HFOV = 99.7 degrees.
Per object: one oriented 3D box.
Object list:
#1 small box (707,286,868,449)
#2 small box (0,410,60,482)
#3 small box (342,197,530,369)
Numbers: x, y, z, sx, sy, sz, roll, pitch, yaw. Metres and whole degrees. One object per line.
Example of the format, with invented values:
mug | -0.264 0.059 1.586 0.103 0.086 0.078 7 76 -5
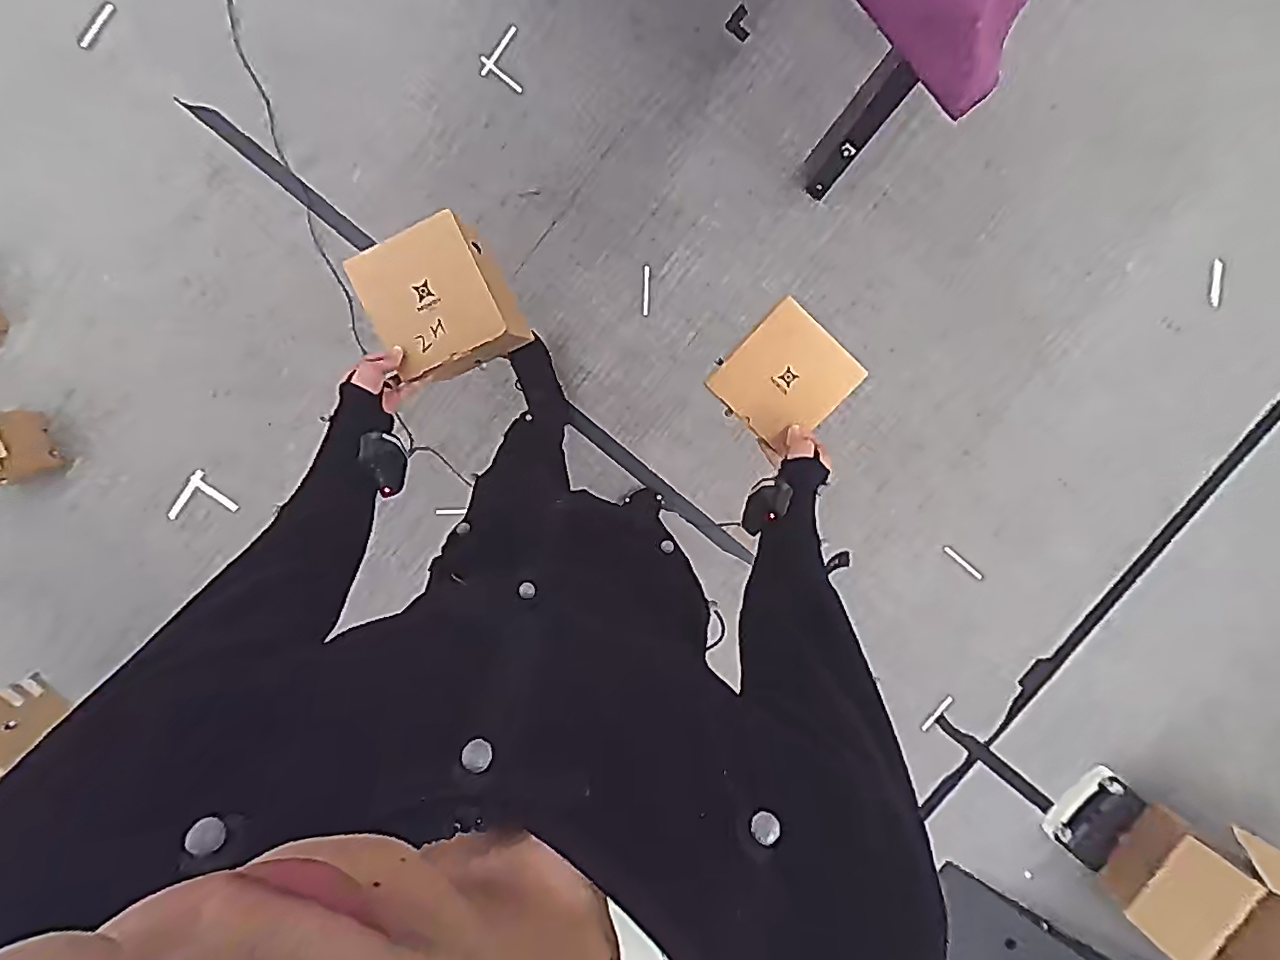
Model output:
small box | 0.218 -0.177 0.861 0.168 0.176 0.179 43 103 -4
small box | -1.779 -0.092 1.493 0.179 0.176 0.168 -20 96 2
small box | -0.283 -0.271 0.792 0.168 0.176 0.179 -23 100 6
